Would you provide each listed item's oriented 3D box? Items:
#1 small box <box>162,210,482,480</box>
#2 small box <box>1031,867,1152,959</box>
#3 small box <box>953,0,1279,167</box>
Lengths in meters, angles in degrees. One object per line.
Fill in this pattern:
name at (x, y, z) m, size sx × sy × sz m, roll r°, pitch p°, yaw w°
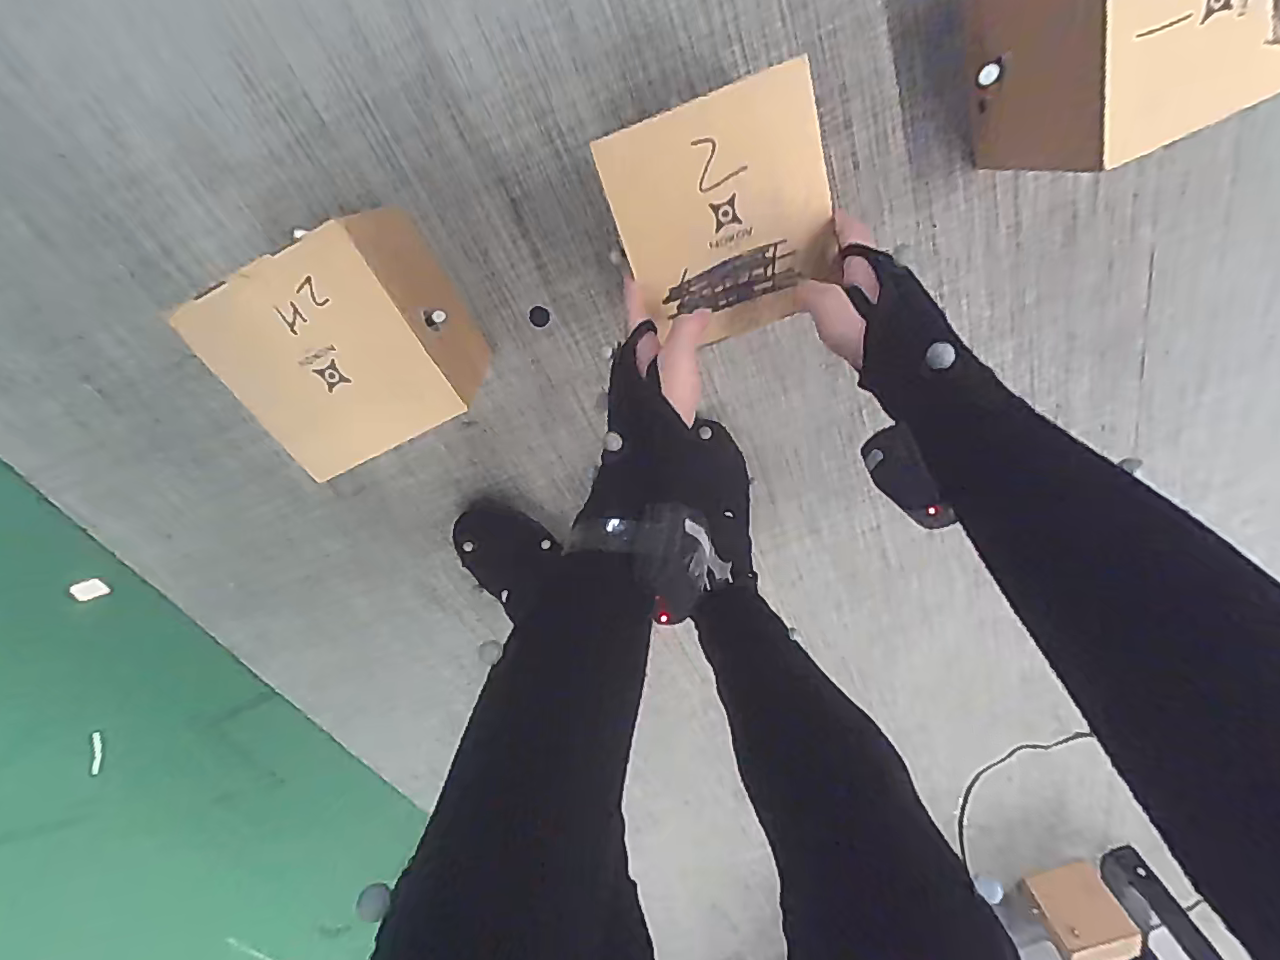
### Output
small box at (-0.274, -0.136, 0.521) m, size 0.168 × 0.176 × 0.179 m, roll -24°, pitch 119°, yaw 8°
small box at (1.162, 1.144, 1.401) m, size 0.179 × 0.176 × 0.168 m, roll -24°, pitch 119°, yaw 8°
small box at (0.397, -0.384, 0.445) m, size 0.179 × 0.176 × 0.168 m, roll -23°, pitch 119°, yaw 8°
